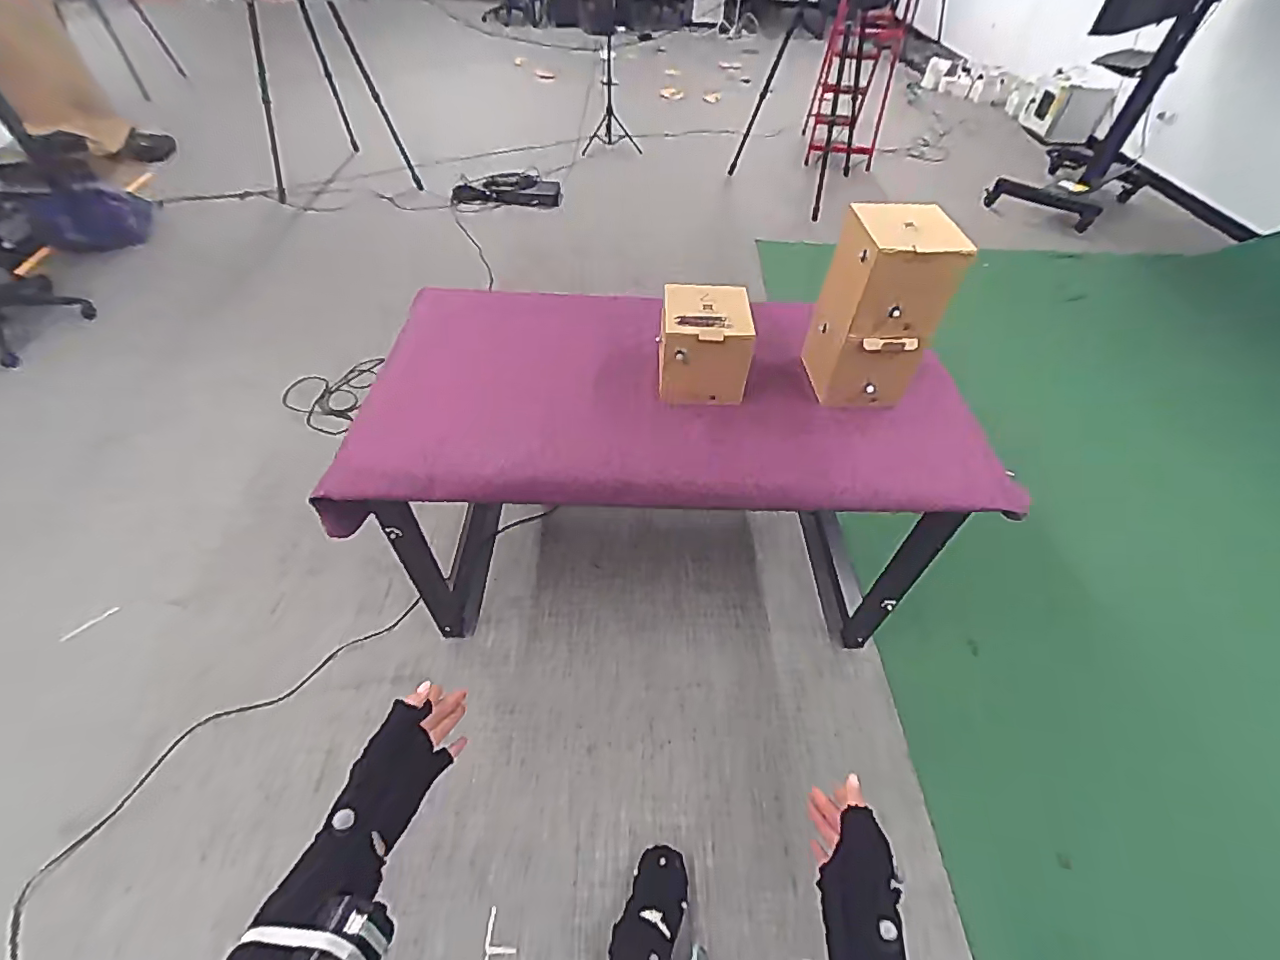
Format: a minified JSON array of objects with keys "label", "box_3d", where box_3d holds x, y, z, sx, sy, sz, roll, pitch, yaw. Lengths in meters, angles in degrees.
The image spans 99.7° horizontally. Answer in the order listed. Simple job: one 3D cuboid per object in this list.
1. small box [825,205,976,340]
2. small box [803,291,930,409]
[{"label":"small box","box_3d":[0.455,-0.374,0.980,0.168,0.176,0.179,-1,50,-3]},{"label":"small box","box_3d":[0.446,-0.265,1.101,0.168,0.176,0.179,-1,50,-3]}]
